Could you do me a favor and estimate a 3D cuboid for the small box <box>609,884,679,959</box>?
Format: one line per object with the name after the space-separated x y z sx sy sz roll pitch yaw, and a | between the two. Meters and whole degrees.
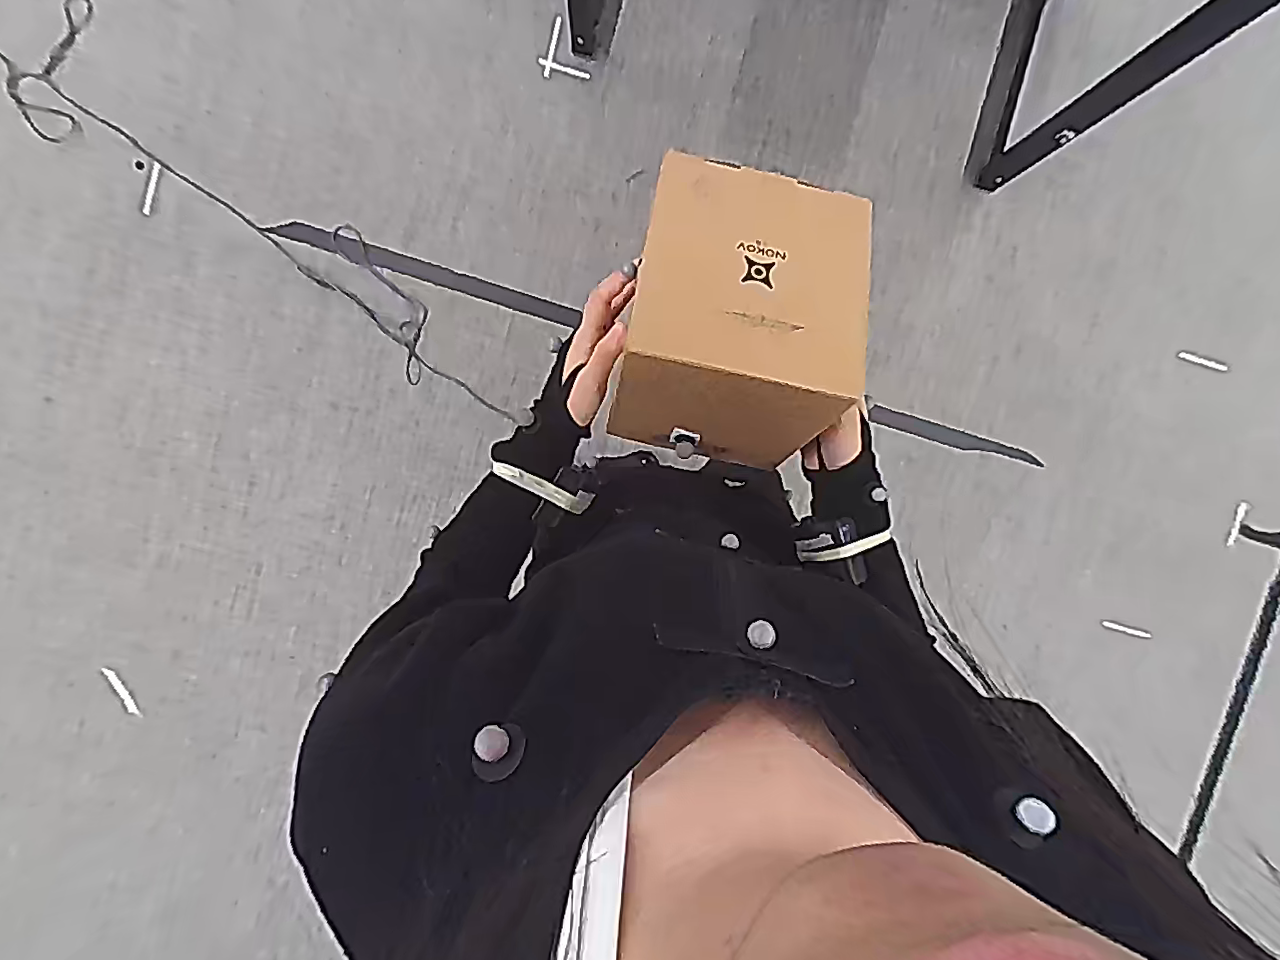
0.007 1.273 1.513 0.179 0.176 0.168 3 94 -5 | small box

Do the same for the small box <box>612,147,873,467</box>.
0.074 -0.129 0.458 0.168 0.176 0.179 11 73 -4 | small box
